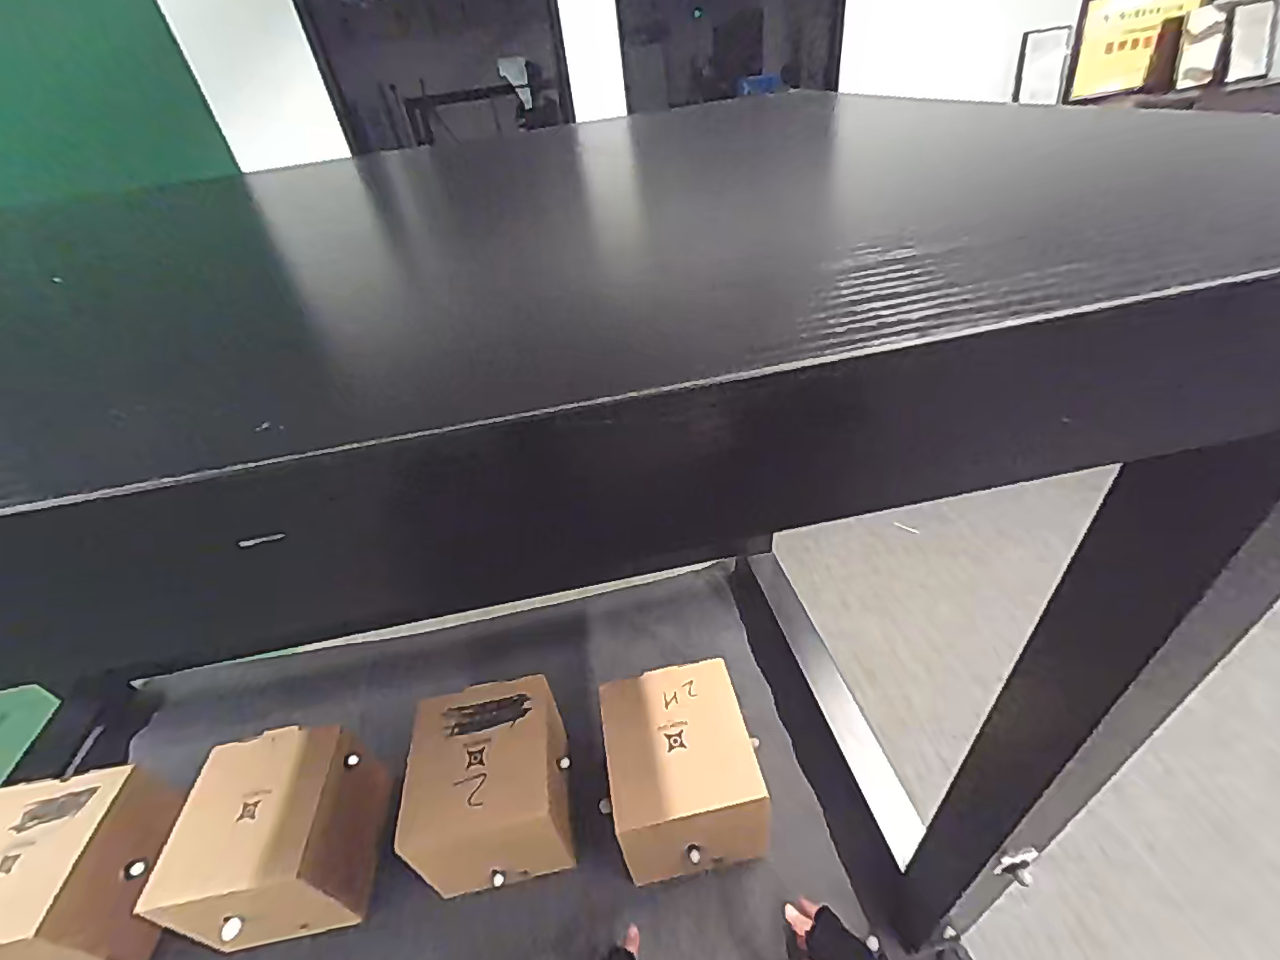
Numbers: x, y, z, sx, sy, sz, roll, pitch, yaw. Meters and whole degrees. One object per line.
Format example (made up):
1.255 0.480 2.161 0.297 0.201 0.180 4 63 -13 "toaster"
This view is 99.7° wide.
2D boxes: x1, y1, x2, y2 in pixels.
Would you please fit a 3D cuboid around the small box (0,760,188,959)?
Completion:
-0.685 0.478 0.655 0.168 0.176 0.179 -10 38 -3 "small box"

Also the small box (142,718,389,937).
-0.437 0.434 0.672 0.168 0.176 0.179 -10 37 -3 "small box"

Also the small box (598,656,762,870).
0.048 0.357 0.679 0.168 0.176 0.179 -11 37 -4 "small box"
